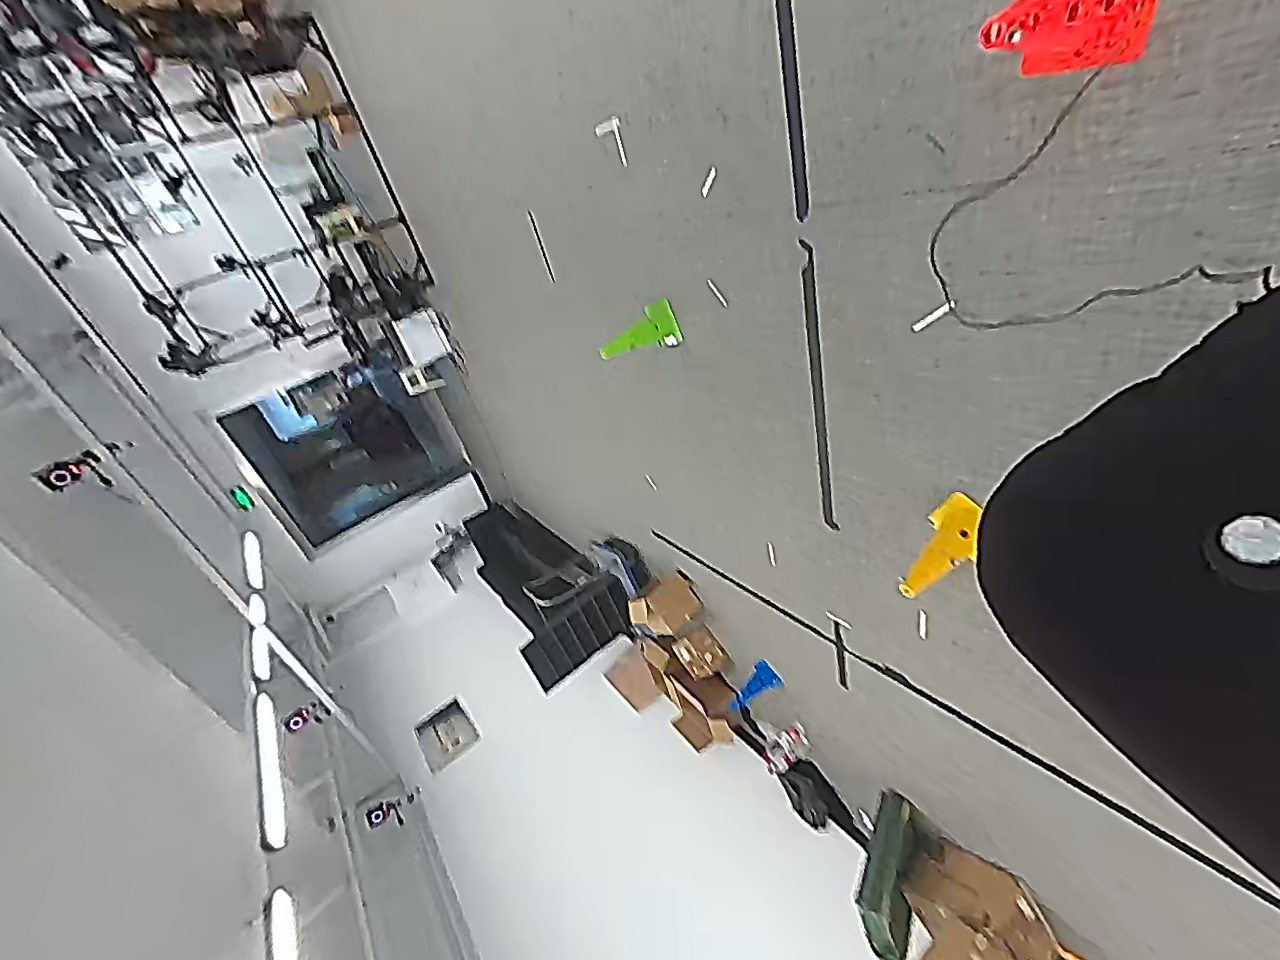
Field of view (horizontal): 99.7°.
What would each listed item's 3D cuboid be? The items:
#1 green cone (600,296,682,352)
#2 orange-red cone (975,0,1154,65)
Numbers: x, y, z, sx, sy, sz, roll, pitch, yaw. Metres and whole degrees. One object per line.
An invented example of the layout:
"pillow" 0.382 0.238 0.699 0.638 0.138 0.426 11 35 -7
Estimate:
"green cone" -0.023 -0.658 2.431 0.200 0.368 0.202 7 125 60
"orange-red cone" 0.673 -0.783 0.898 0.198 0.360 0.199 34 149 44
